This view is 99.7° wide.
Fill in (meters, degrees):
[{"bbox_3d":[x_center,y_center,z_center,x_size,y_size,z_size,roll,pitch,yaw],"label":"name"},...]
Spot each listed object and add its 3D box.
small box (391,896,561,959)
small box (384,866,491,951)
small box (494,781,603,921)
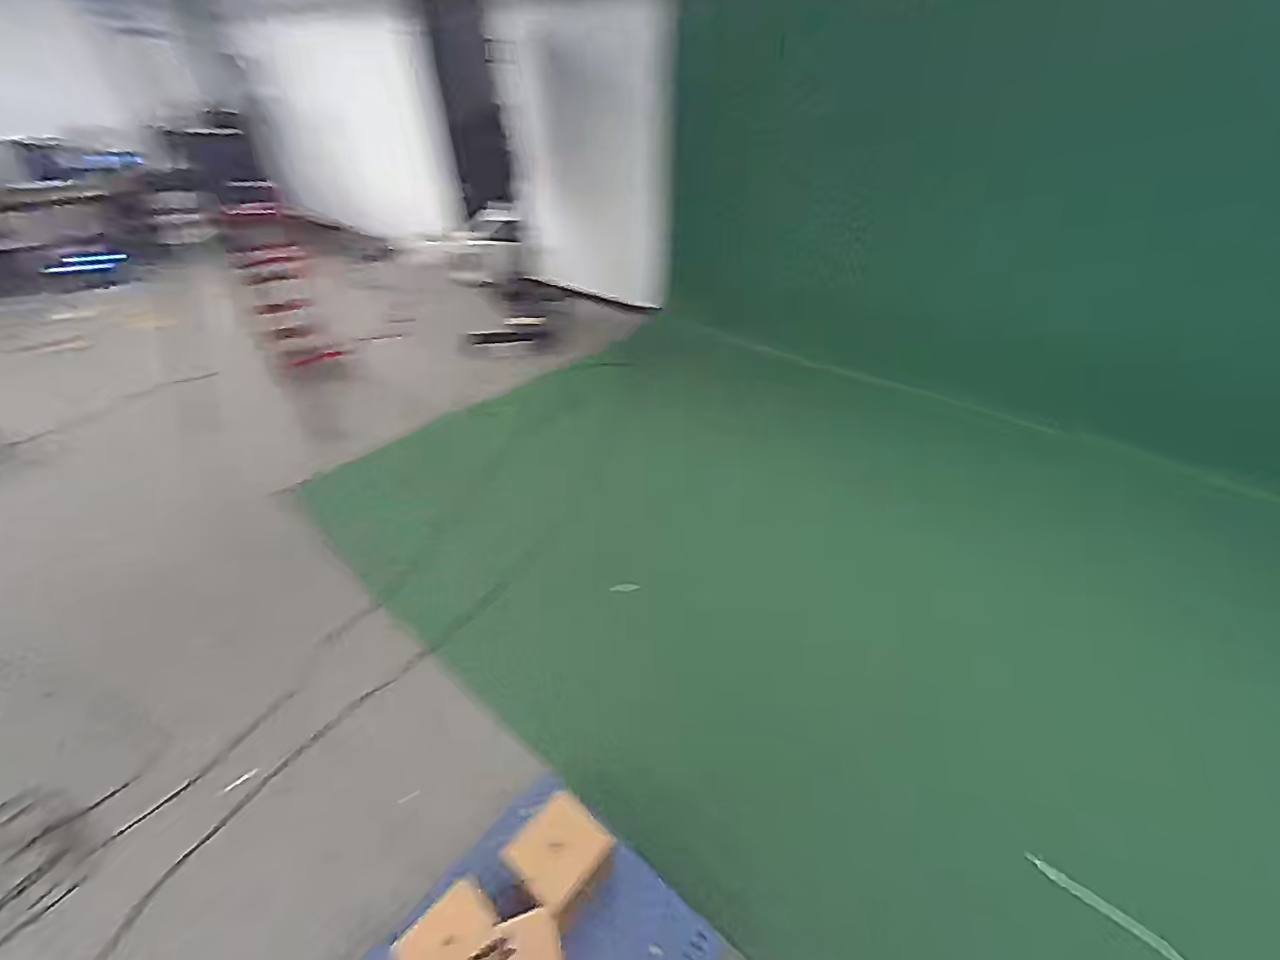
[{"bbox_3d":[-0.158,0.586,0.567,0.168,0.176,0.179,-9,41,-16],"label":"small box"},{"bbox_3d":[-0.375,0.937,1.082,0.179,0.176,0.168,30,47,33],"label":"small box"},{"bbox_3d":[-0.196,0.834,1.215,0.168,0.176,0.179,29,47,31],"label":"small box"}]
